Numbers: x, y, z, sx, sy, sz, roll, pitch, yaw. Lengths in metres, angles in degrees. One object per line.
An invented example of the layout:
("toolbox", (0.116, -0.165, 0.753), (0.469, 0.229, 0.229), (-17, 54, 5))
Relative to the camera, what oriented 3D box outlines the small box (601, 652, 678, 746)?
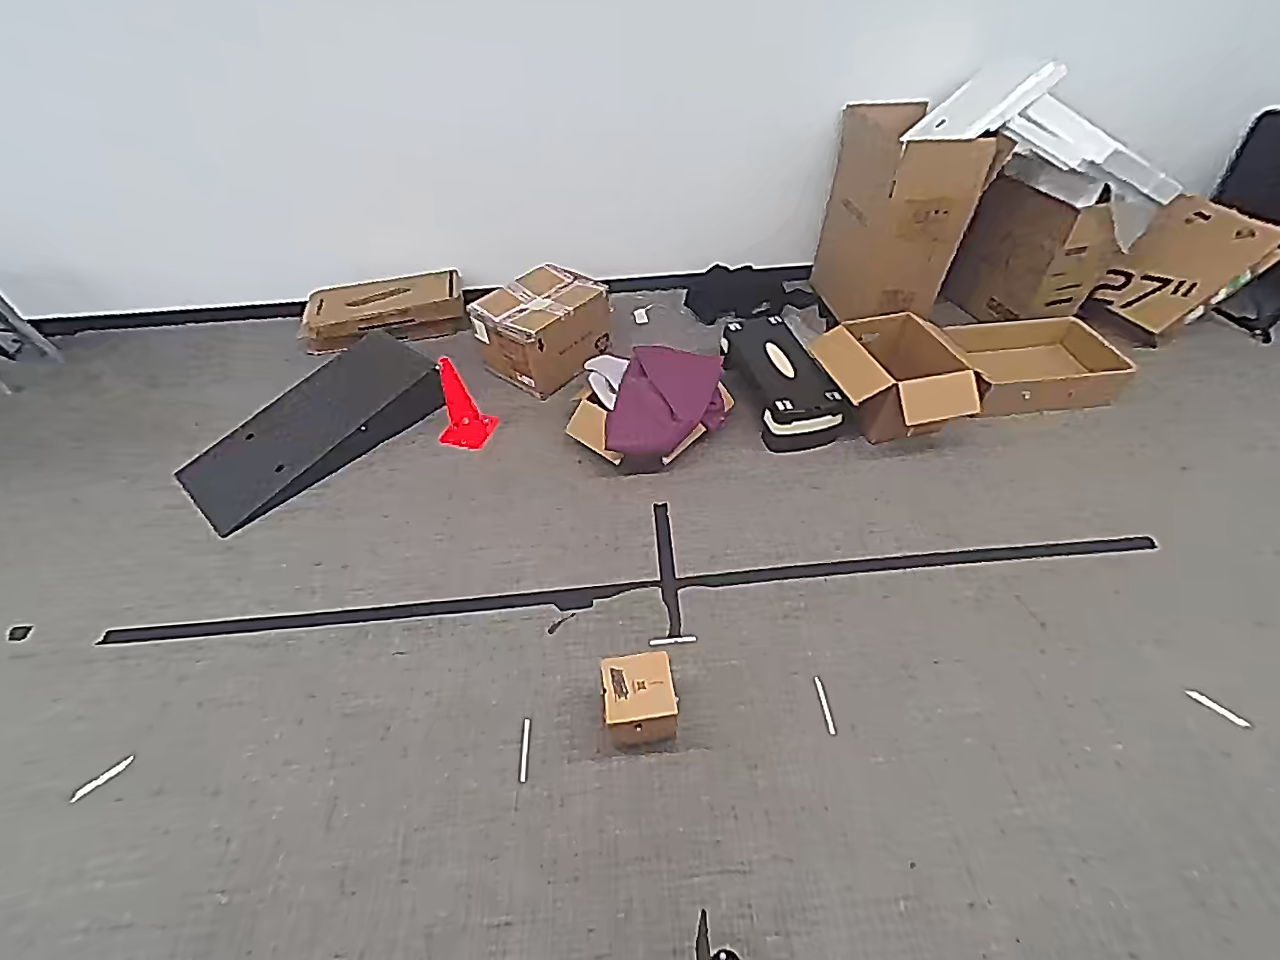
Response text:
("small box", (0.000, 0.566, 1.390), (0.179, 0.176, 0.168), (-7, 47, -4))
